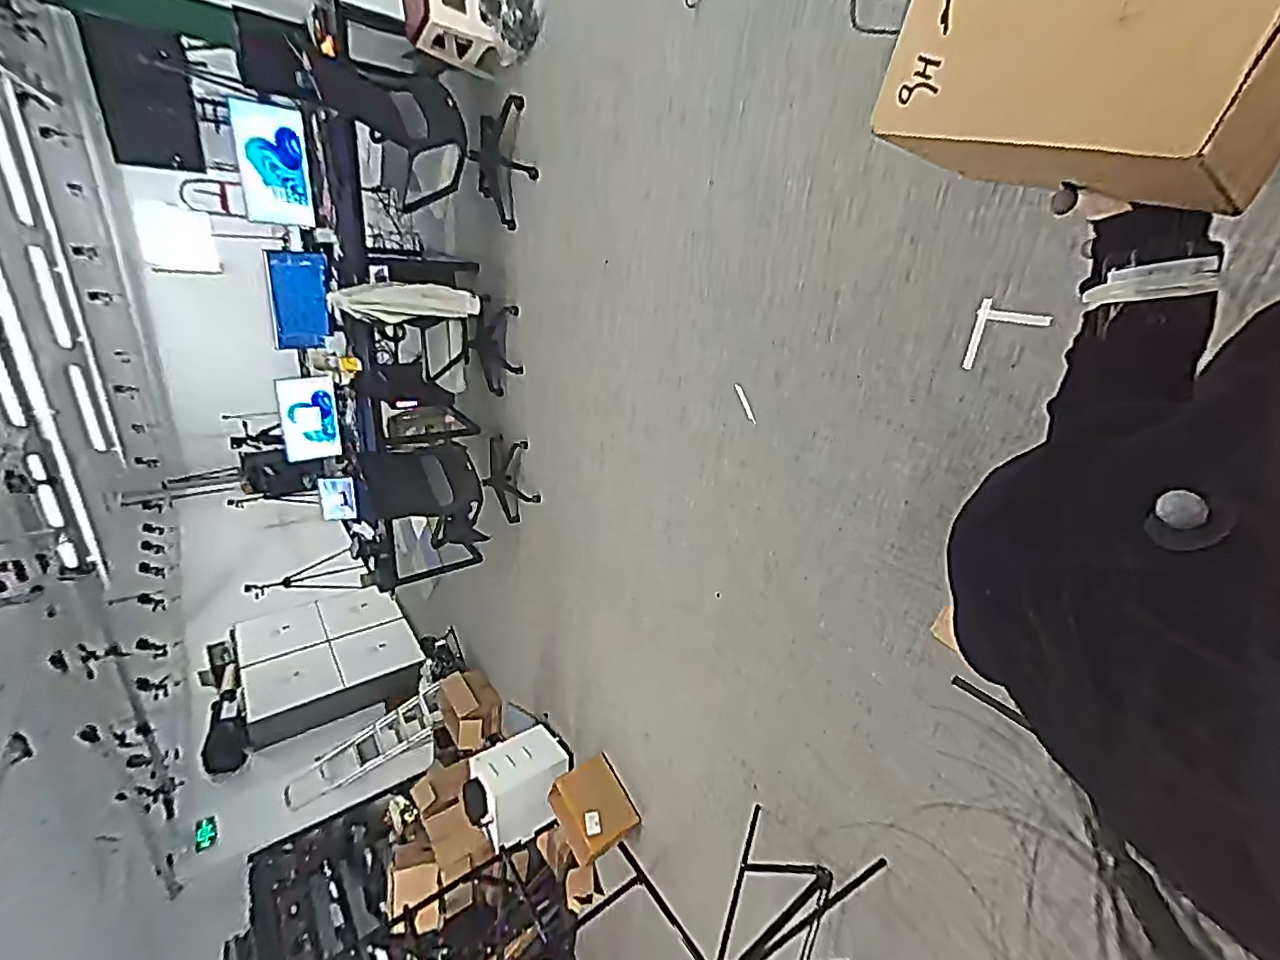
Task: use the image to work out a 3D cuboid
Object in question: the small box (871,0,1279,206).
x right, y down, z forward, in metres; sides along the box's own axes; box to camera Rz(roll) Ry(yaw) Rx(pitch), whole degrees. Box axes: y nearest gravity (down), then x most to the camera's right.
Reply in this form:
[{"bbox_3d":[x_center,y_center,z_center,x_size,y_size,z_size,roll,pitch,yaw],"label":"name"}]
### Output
[{"bbox_3d":[0.277,-0.264,0.305,0.179,0.176,0.168,39,128,40],"label":"small box"}]
